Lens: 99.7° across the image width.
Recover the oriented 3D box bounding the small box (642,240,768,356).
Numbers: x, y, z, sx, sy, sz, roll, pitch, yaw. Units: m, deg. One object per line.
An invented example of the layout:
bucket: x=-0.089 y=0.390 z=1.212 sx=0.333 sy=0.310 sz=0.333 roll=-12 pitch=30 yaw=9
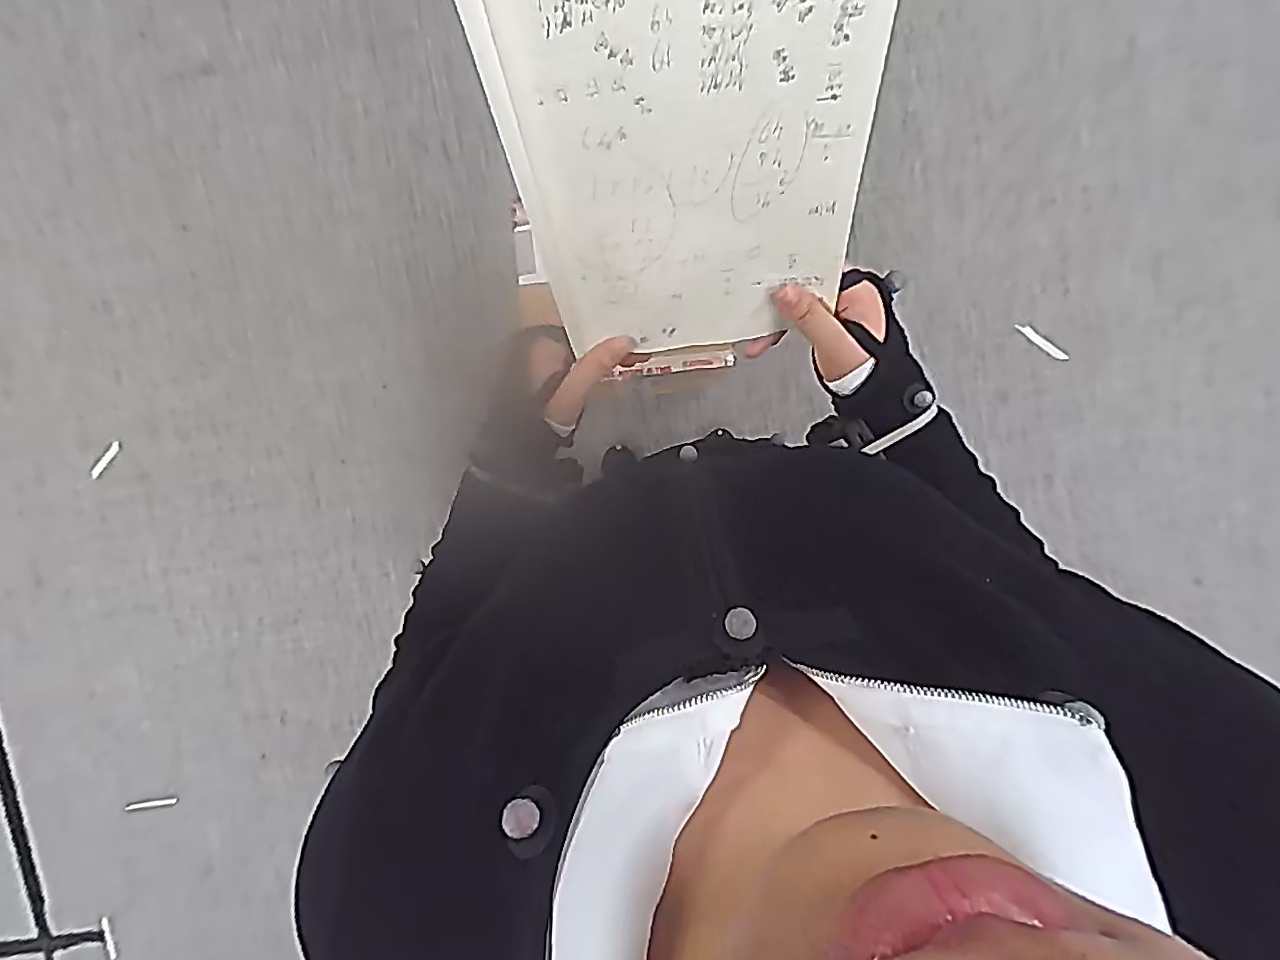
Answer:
small box: x=0.103 y=-0.318 z=0.925 sx=0.179 sy=0.176 sz=0.168 roll=-11 pitch=94 yaw=1

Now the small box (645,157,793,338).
small box: x=0.101 y=-0.313 z=0.761 sx=0.168 sy=0.176 sz=0.179 roll=-9 pitch=94 yaw=0
